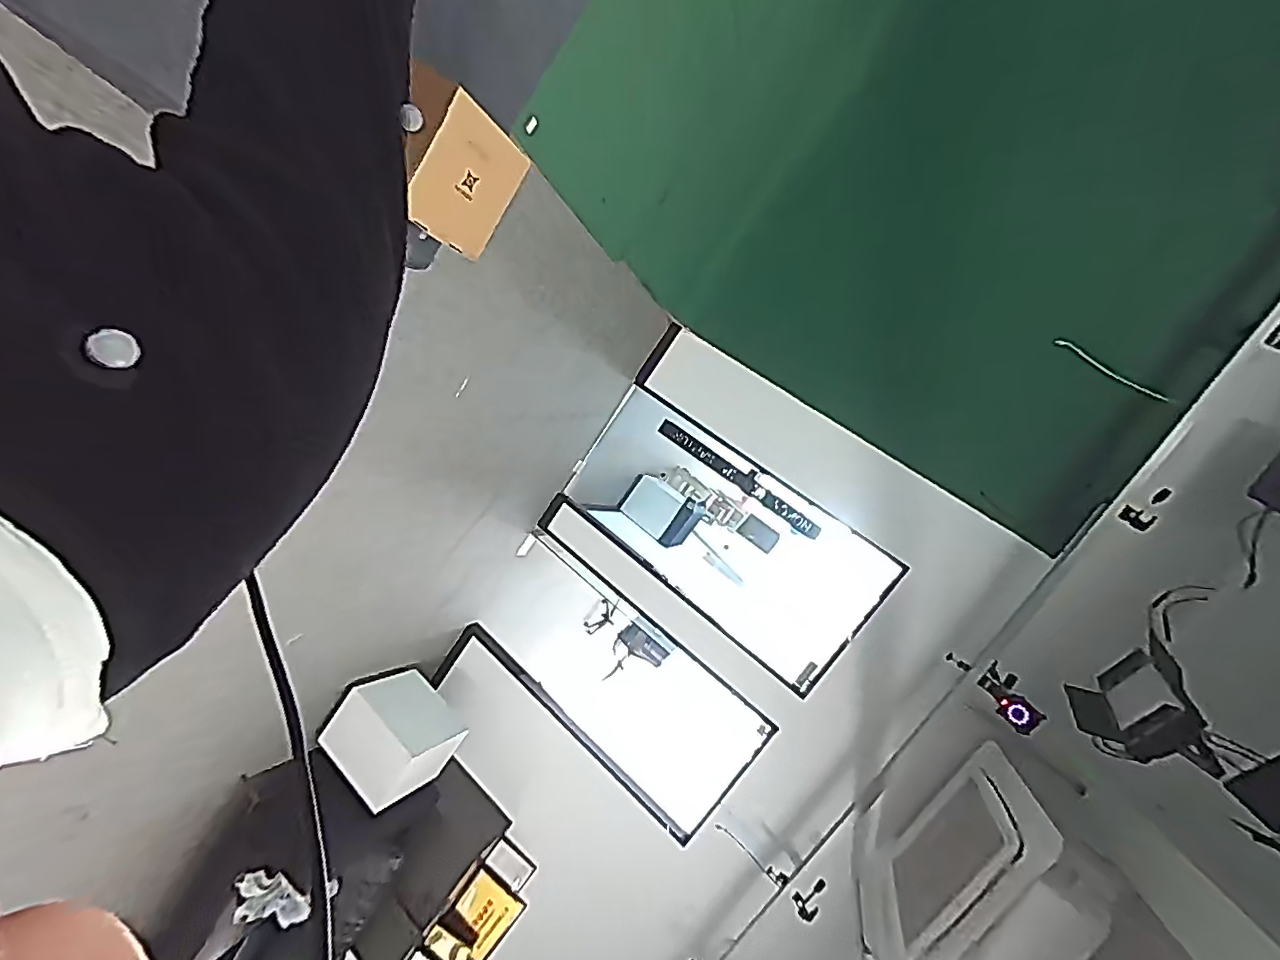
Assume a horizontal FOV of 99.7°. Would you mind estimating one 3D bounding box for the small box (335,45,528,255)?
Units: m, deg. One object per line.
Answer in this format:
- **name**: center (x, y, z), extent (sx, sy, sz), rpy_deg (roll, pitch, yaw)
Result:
- **small box**: center (-0.307, -0.476, 0.793), extent (0.179, 0.176, 0.168), rpy_deg (-56, 161, 10)
